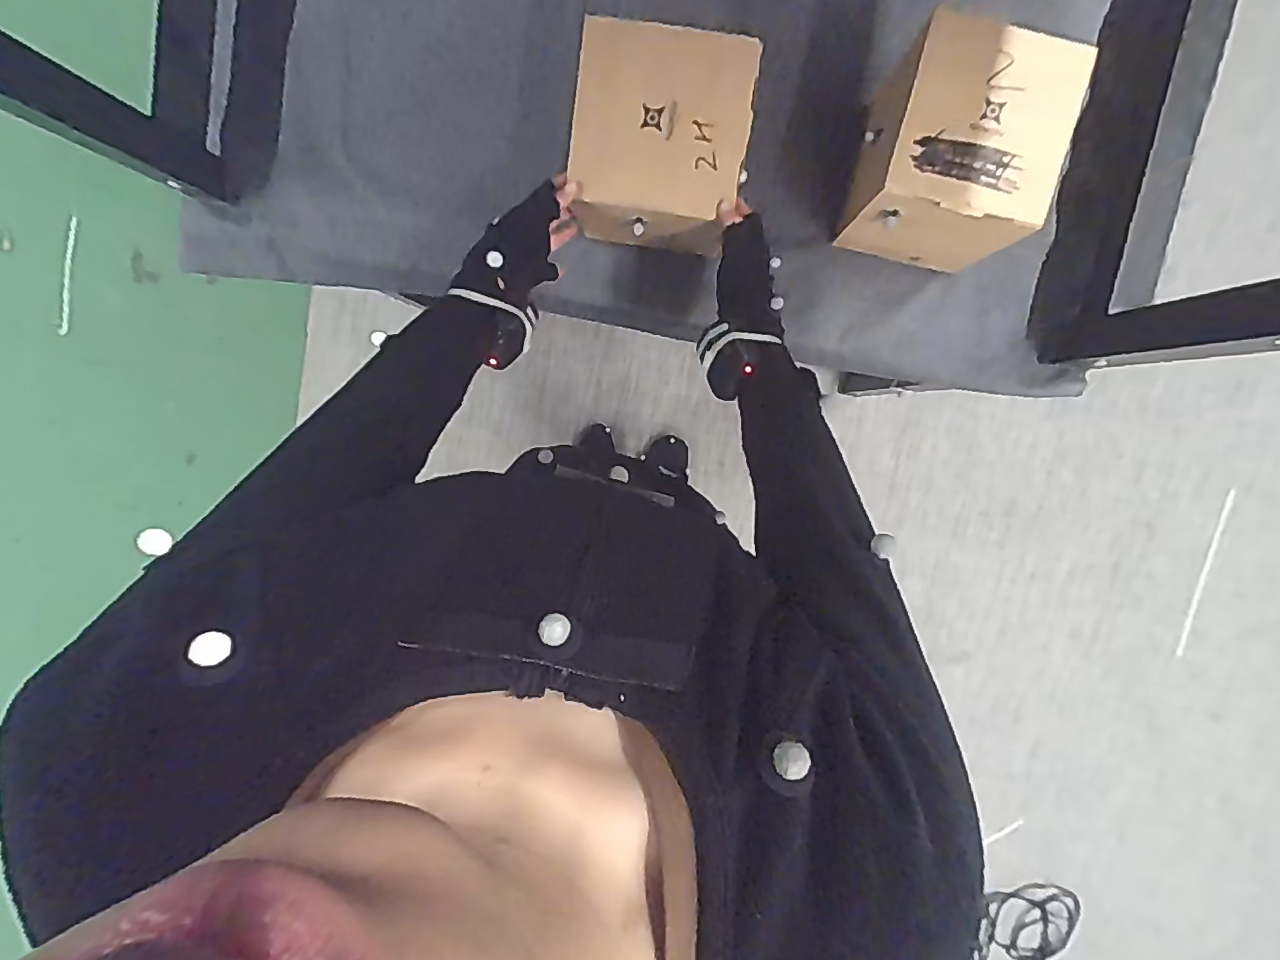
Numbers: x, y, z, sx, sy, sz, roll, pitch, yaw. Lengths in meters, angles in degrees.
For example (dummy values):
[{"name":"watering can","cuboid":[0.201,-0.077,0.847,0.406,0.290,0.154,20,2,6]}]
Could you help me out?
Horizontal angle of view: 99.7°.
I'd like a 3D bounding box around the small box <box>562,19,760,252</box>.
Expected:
[{"name":"small box","cuboid":[0.022,-0.371,0.616,0.179,0.176,0.168,10,103,1]}]
